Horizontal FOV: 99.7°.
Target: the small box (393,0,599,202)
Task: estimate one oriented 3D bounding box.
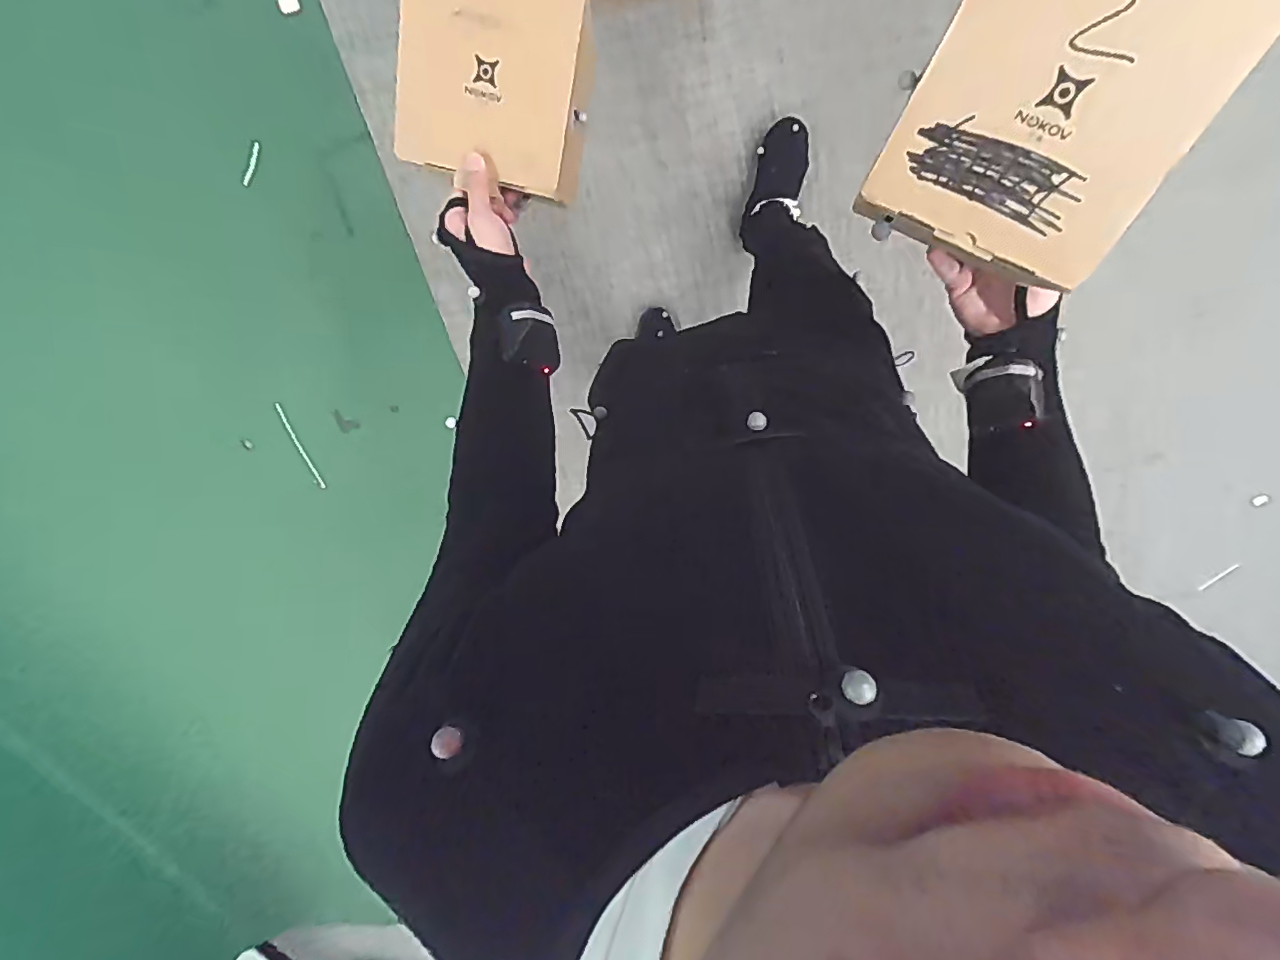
[{"bbox_3d":[-0.143,-0.417,0.582,0.168,0.176,0.179,12,109,-4],"label":"small box"}]
